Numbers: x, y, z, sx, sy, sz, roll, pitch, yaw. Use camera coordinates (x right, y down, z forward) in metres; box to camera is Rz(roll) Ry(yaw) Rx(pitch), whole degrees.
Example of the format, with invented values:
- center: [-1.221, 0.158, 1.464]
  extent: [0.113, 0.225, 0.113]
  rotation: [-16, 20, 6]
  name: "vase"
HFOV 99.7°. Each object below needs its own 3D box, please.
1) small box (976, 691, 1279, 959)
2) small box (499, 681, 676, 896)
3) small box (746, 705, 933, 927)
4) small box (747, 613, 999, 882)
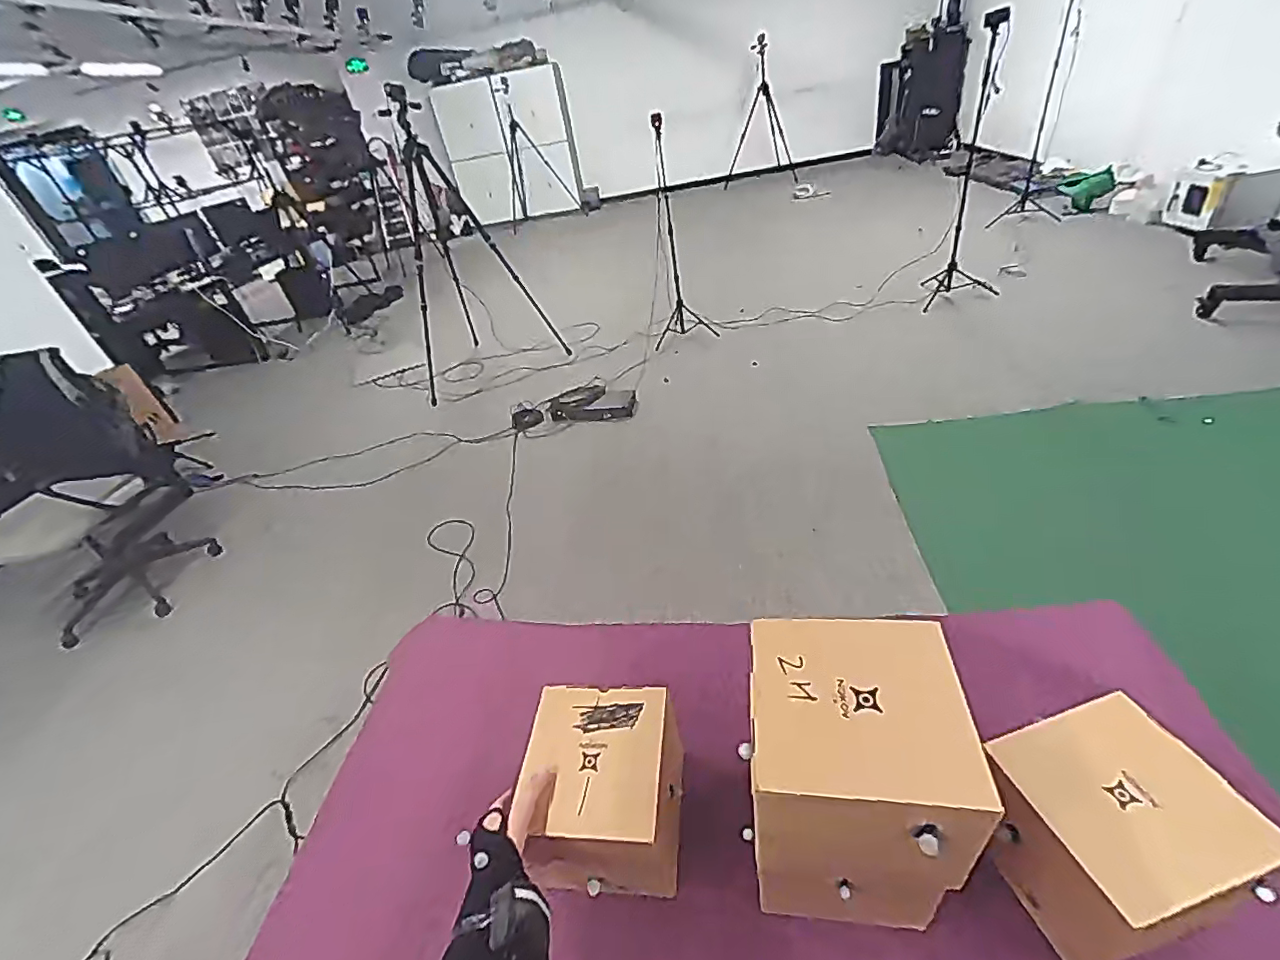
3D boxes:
- center: [0.466, 0.358, 0.555]
  extent: [0.179, 0.176, 0.168]
  rotation: [-16, 36, -7]
  name: "small box"
- center: [-0.048, 0.375, 0.667]
  extent: [0.168, 0.176, 0.179]
  rotation: [-3, 38, 11]
  name: "small box"
- center: [0.213, 0.370, 0.608]
  extent: [0.179, 0.176, 0.168]
  rotation: [-2, 38, 12]
  name: "small box"
- center: [0.192, 0.245, 0.503]
  extent: [0.179, 0.176, 0.168]
  rotation: [-2, 37, 13]
  name: "small box"
